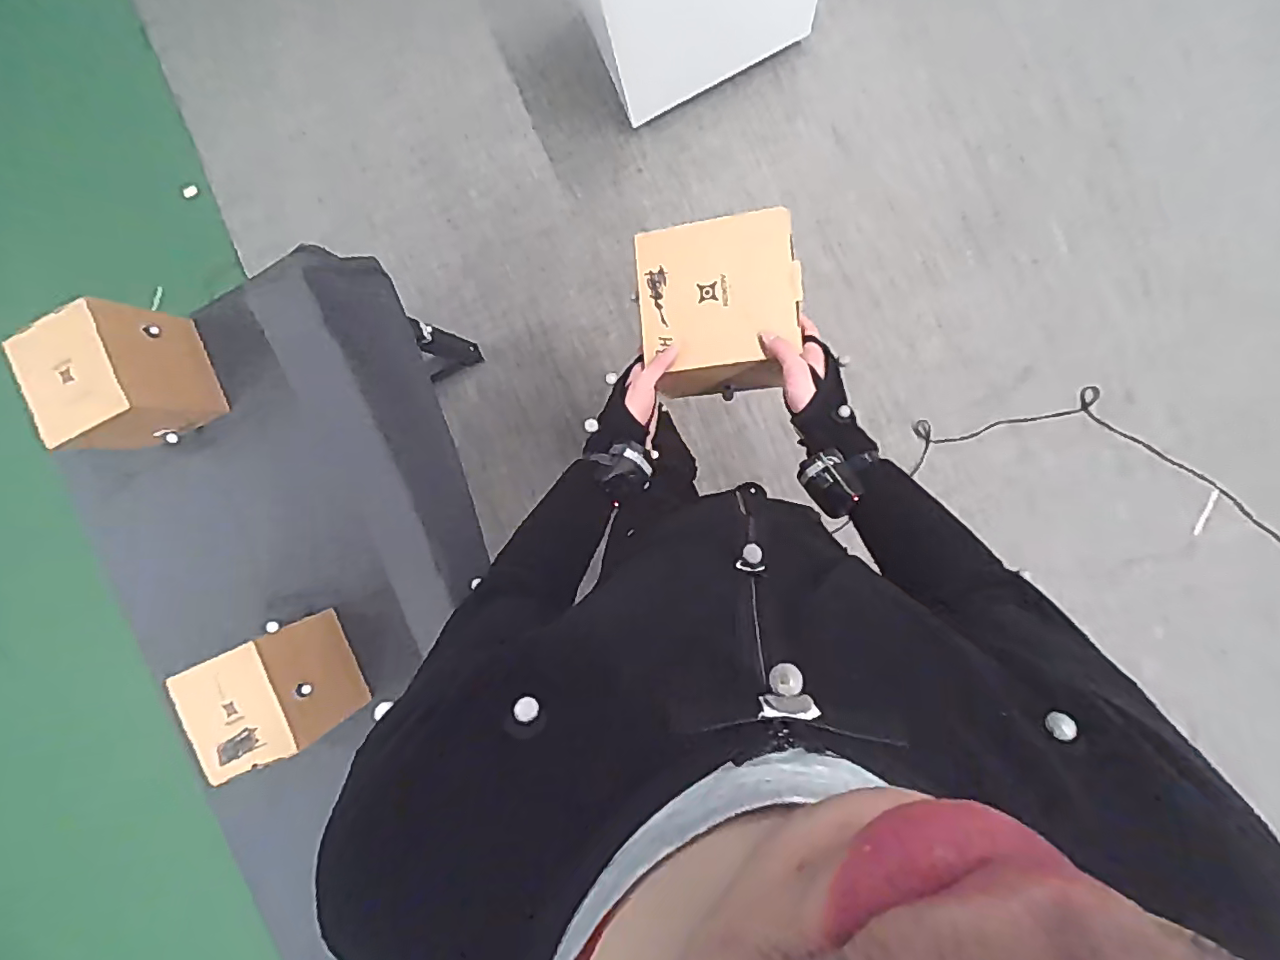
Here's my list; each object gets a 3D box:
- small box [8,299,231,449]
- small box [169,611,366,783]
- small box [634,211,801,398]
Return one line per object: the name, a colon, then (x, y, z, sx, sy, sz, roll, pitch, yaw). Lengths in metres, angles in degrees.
small box: (-0.822, -0.159, 0.870, 0.168, 0.176, 0.179, -22, 92, 10)
small box: (-0.581, 0.337, 0.867, 0.168, 0.176, 0.179, -23, 89, 9)
small box: (0.097, -0.202, 0.673, 0.179, 0.176, 0.168, -5, 88, 11)
